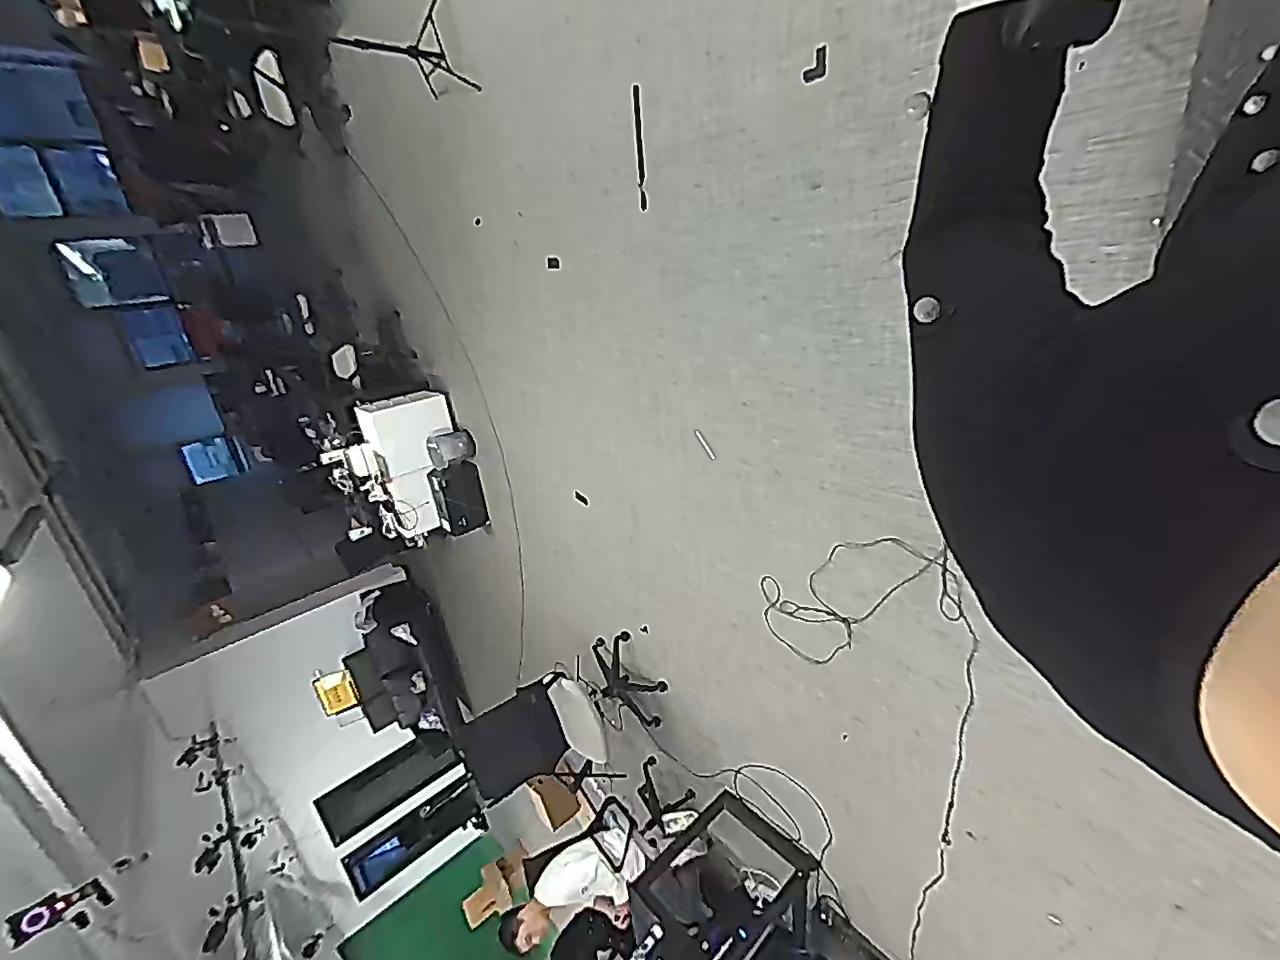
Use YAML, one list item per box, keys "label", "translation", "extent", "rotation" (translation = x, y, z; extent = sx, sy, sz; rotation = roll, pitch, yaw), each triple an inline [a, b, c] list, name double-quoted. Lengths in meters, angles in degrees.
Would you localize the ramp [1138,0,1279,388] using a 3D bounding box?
- label: "ramp"
  translation: [1.129, -0.591, 0.775]
  extent: [0.509, 0.206, 0.991]
  rotation: [15, 121, 46]
